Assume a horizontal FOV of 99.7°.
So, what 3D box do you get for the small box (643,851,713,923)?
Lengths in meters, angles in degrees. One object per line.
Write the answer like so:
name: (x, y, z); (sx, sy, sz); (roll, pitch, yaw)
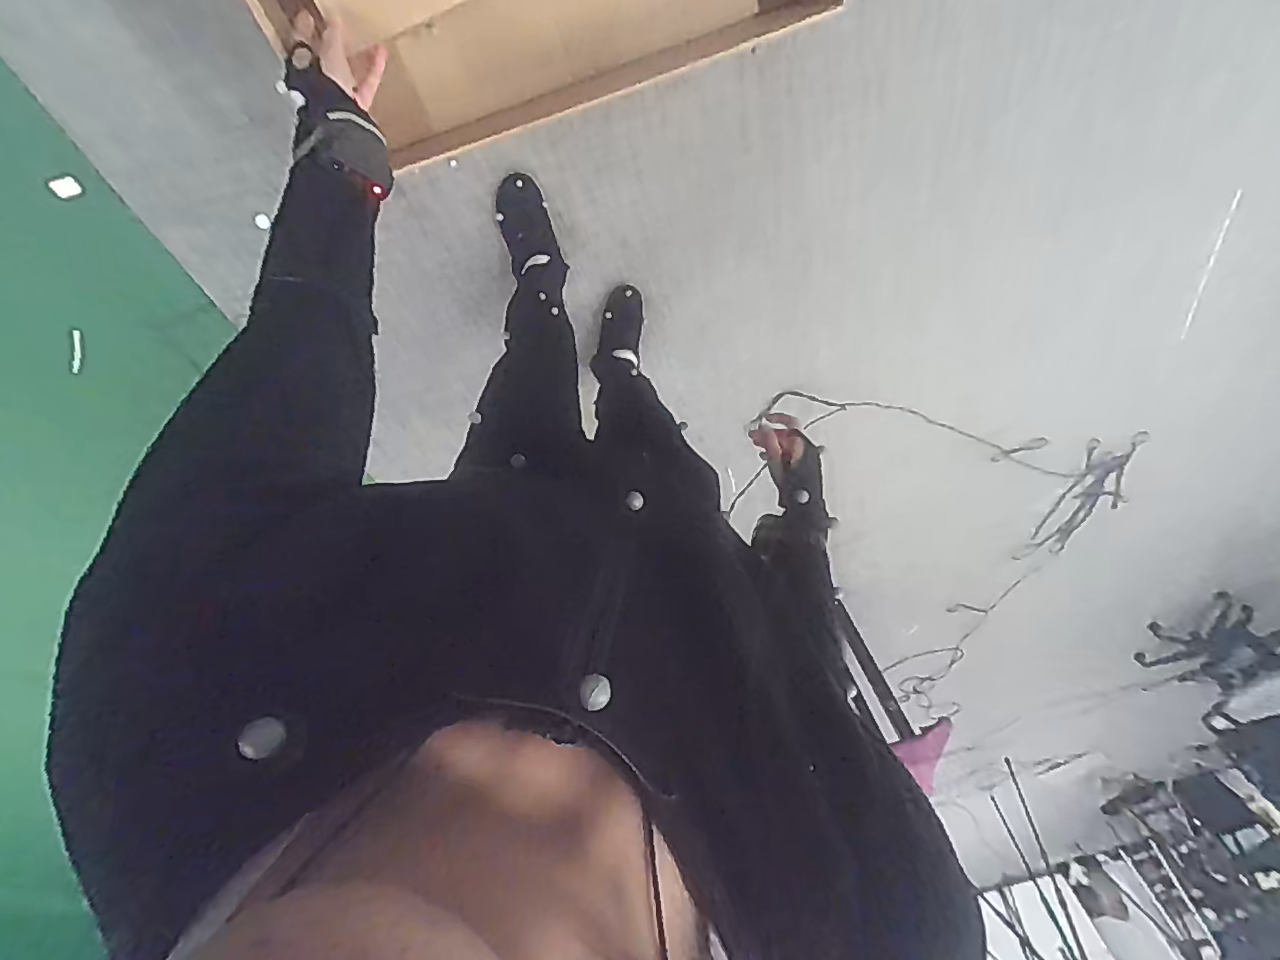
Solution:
small box: (0.132, 1.468, 1.951); (0.179, 0.176, 0.168); (-34, 129, 16)
